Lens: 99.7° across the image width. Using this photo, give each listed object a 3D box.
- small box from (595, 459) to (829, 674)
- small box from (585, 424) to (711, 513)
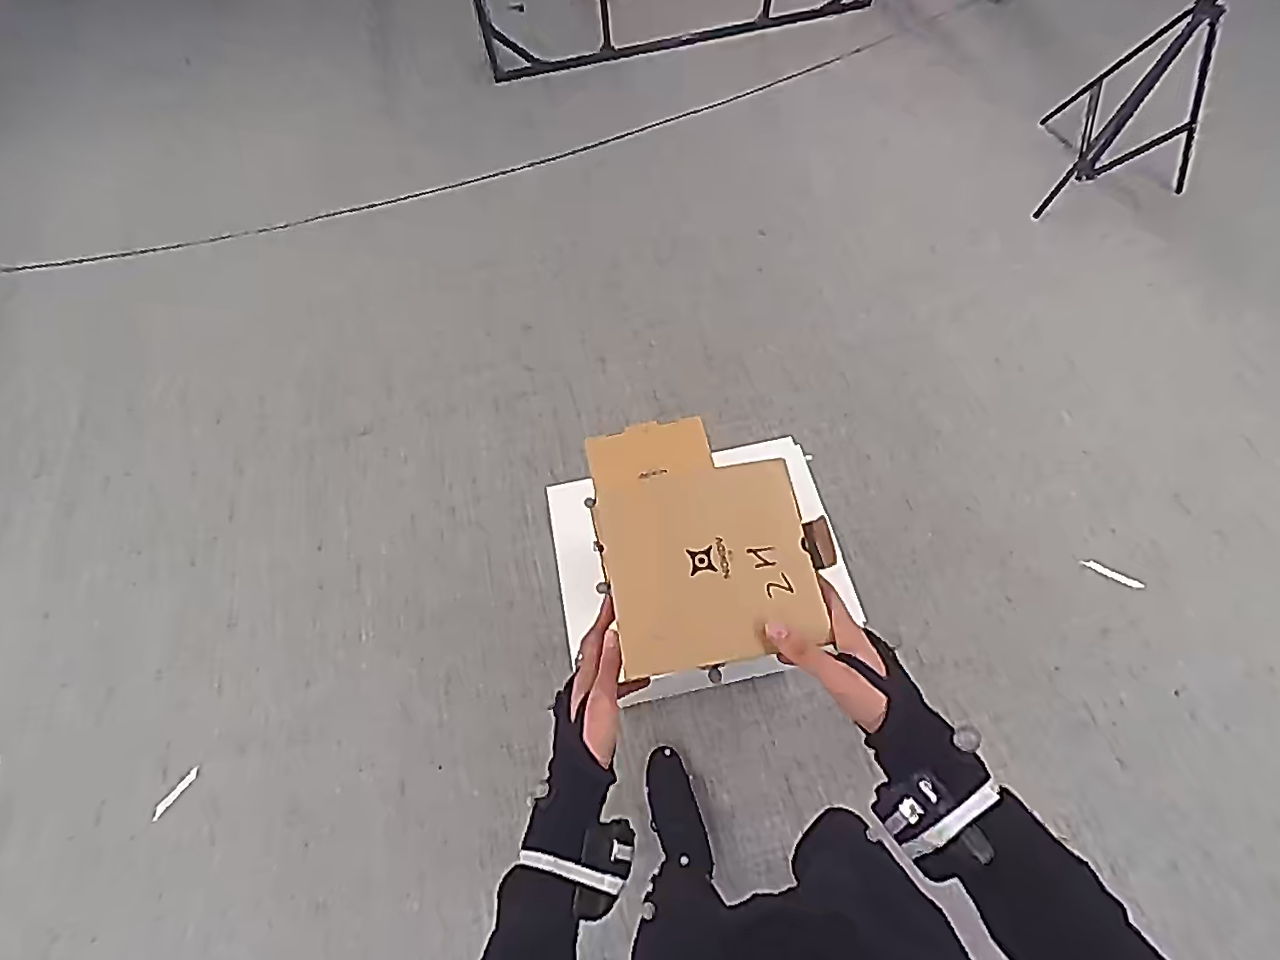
[{"bbox_3d":[0.057,0.095,0.536,0.179,0.176,0.168,-8,71,-4],"label":"small box"},{"bbox_3d":[0.024,0.048,0.787,0.168,0.176,0.179,-13,63,-4],"label":"small box"}]
